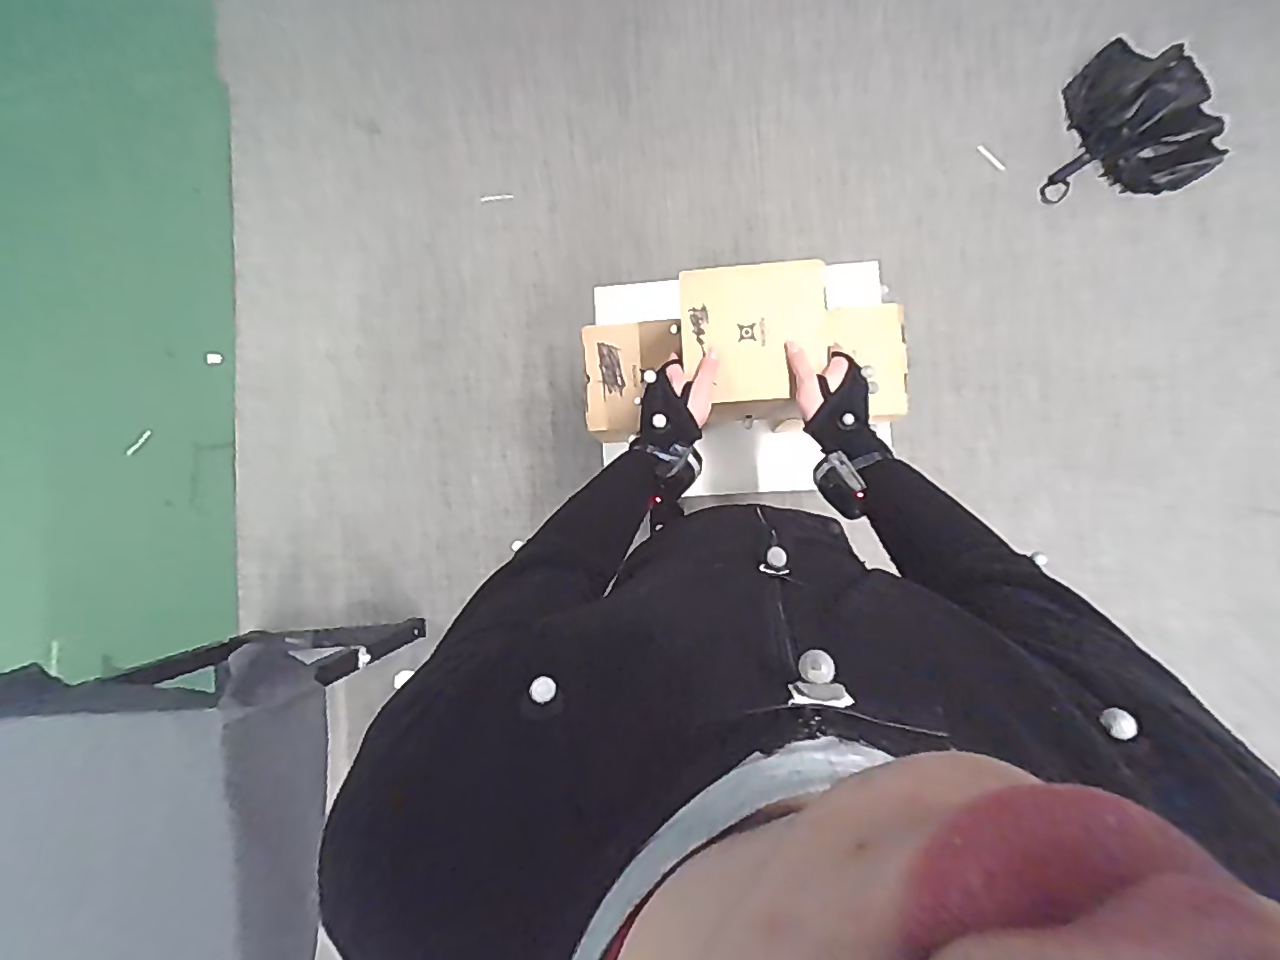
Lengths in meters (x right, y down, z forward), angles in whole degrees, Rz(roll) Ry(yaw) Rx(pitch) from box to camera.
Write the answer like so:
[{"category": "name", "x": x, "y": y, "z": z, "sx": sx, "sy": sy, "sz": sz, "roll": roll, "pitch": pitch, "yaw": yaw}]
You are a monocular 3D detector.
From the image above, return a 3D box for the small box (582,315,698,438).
[{"category": "small box", "x": 0.006, "y": -0.162, "z": 0.893, "sx": 0.179, "sy": 0.176, "sz": 0.168, "roll": -3, "pitch": 89, "yaw": 2}]

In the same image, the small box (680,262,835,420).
[{"category": "small box", "x": 0.146, "y": -0.174, "z": 0.722, "sx": 0.179, "sy": 0.176, "sz": 0.168, "roll": -2, "pitch": 89, "yaw": 3}]

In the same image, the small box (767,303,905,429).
[{"category": "small box", "x": 0.305, "y": -0.174, "z": 0.872, "sx": 0.179, "sy": 0.176, "sz": 0.168, "roll": -2, "pitch": 88, "yaw": 6}]
